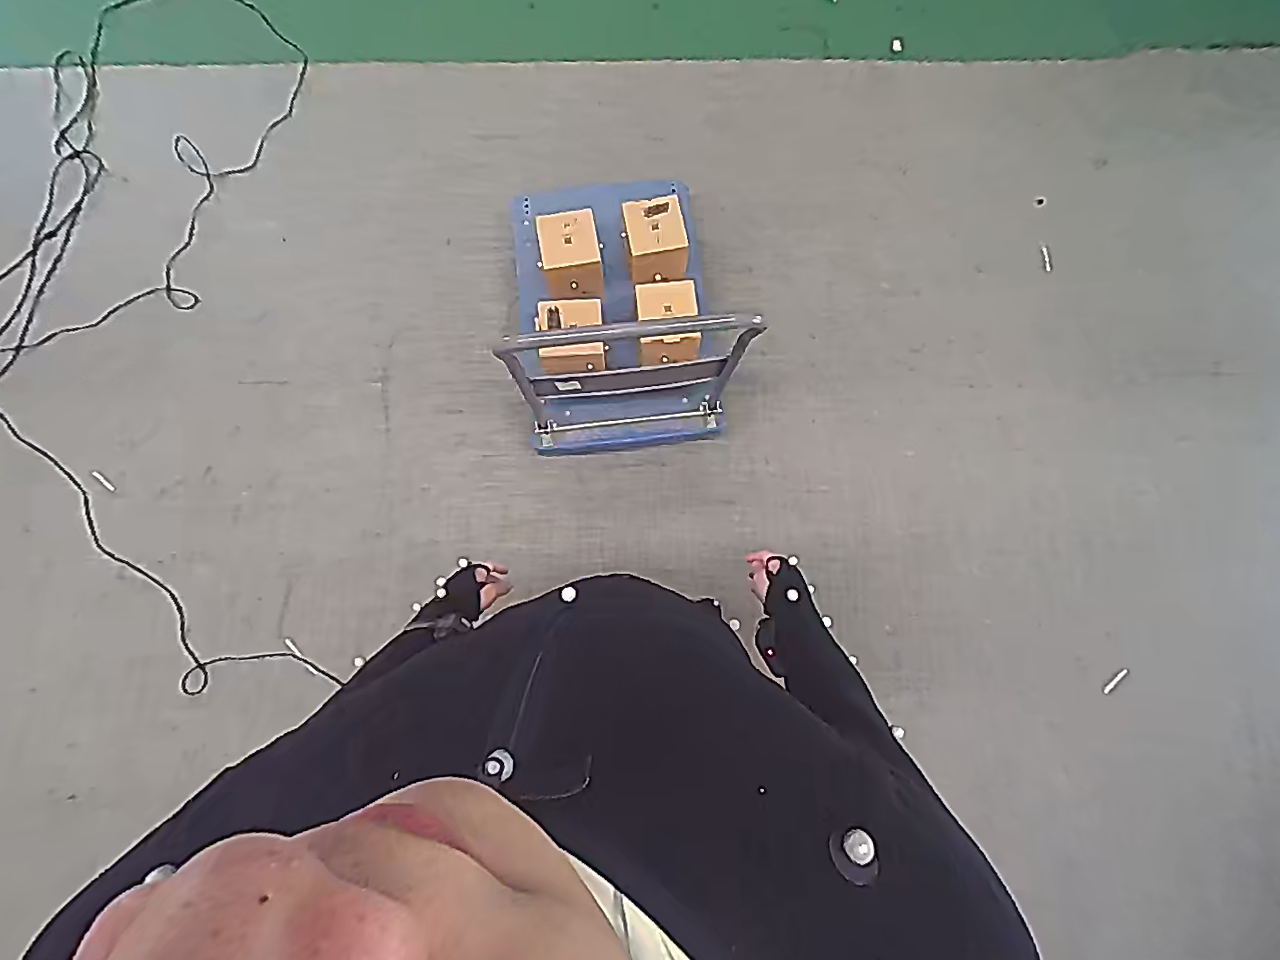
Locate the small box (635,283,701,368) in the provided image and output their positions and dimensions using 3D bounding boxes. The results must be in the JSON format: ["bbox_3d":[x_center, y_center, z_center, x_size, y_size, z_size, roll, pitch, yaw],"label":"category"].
[{"bbox_3d":[0.075,-0.442,1.560,0.168,0.176,0.179,-6,78,-2],"label":"small box"}]

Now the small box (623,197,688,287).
[{"bbox_3d":[0.042,-0.705,1.615,0.168,0.176,0.179,-10,79,-2],"label":"small box"}]

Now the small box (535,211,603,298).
[{"bbox_3d":[-0.206,-0.658,1.604,0.168,0.176,0.179,-10,78,-3],"label":"small box"}]
